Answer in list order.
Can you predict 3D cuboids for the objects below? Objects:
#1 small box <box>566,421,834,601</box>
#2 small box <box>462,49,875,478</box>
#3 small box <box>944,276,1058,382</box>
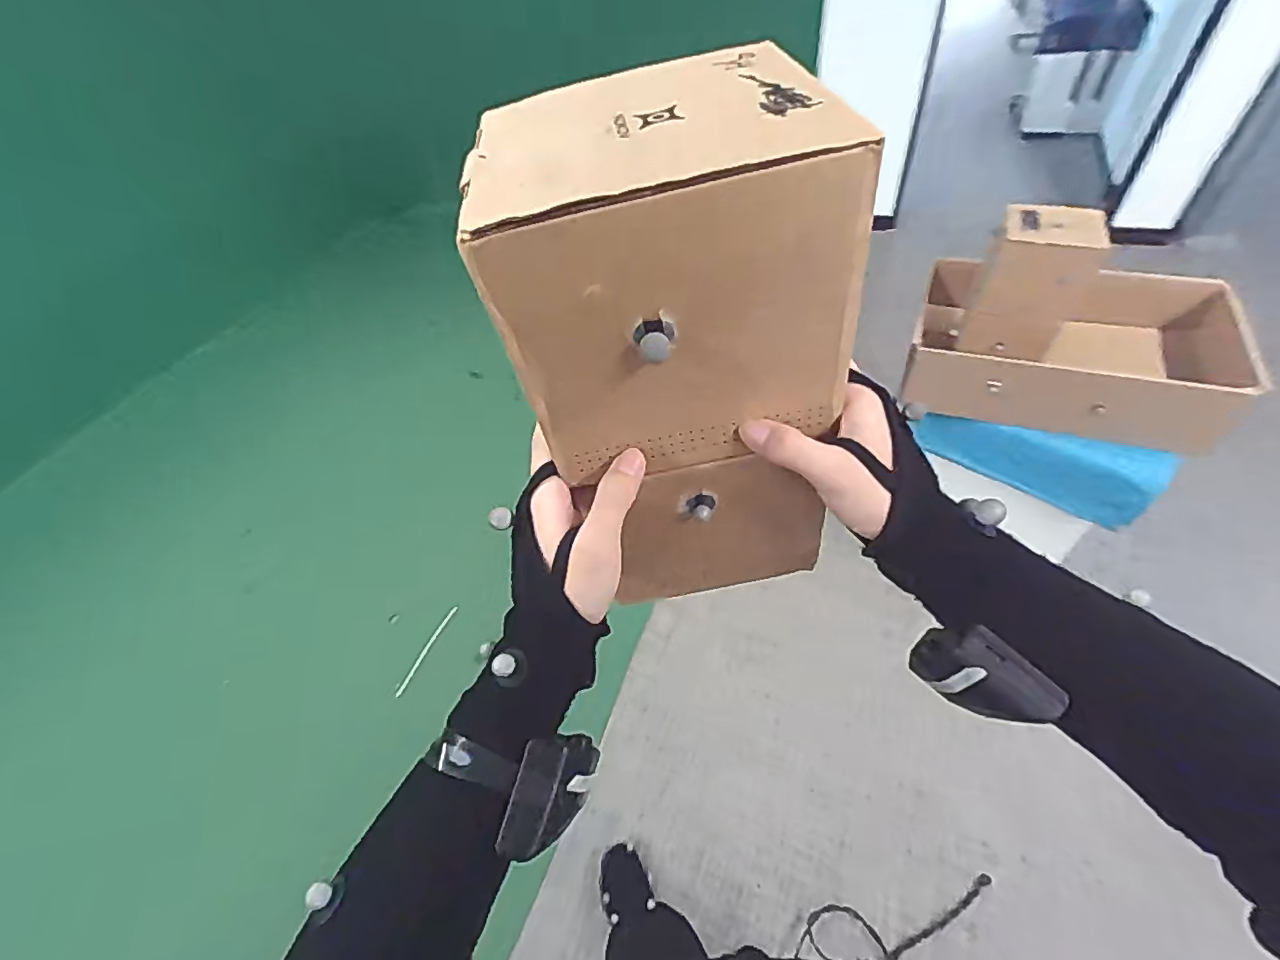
[{"bbox_3d":[0.045,-0.016,0.452,0.179,0.176,0.168,-10,49,3],"label":"small box"},{"bbox_3d":[0.017,-0.121,0.329,0.179,0.176,0.168,-12,50,4],"label":"small box"},{"bbox_3d":[0.852,-0.355,1.284,0.179,0.176,0.168,16,54,19],"label":"small box"}]
